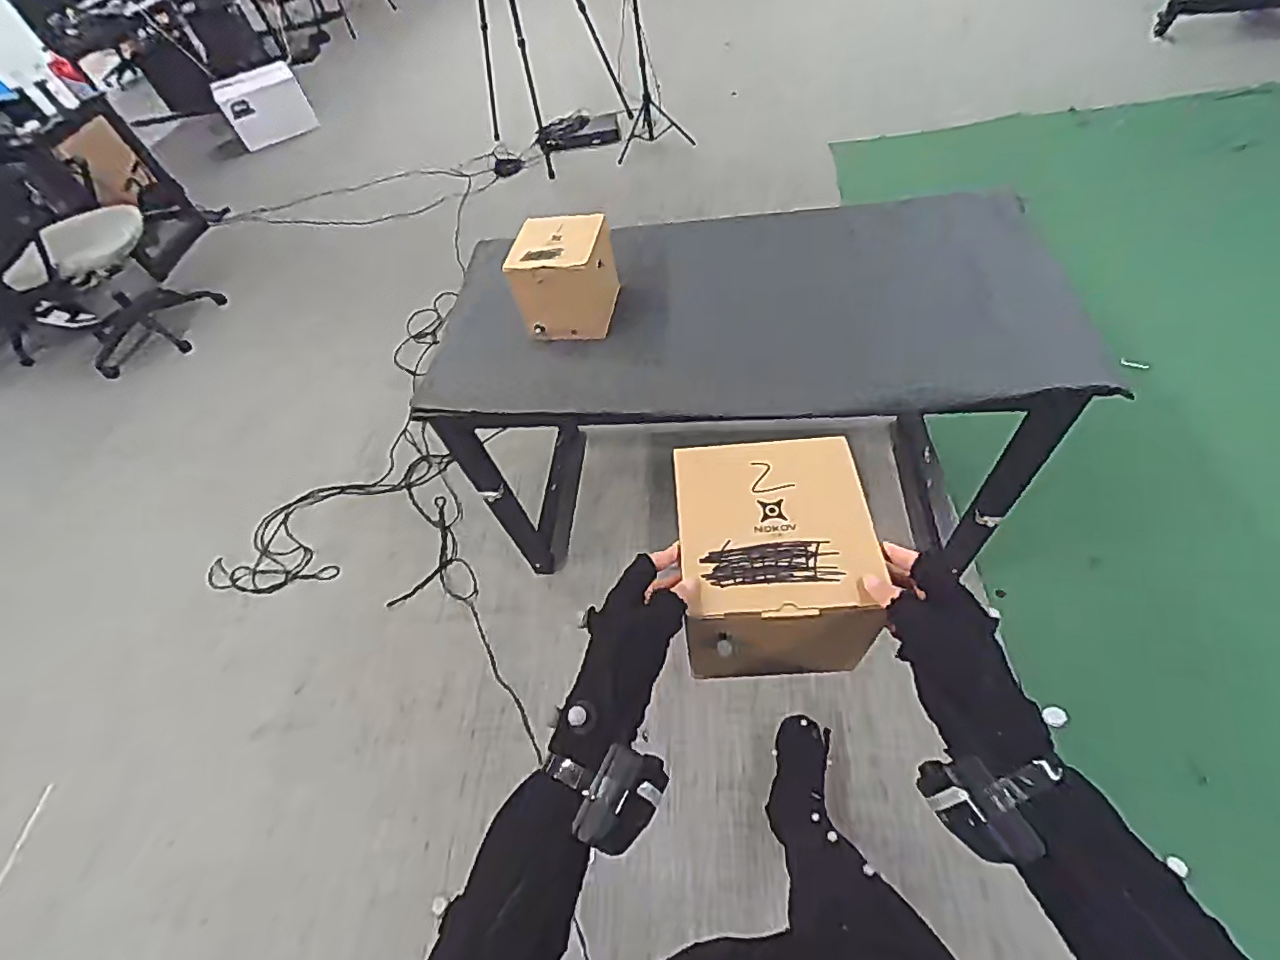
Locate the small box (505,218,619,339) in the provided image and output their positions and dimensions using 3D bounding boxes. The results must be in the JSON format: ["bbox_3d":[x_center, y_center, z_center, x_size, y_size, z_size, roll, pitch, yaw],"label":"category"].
[{"bbox_3d":[-0.146,-0.401,1.093,0.168,0.176,0.179,3,54,12],"label":"small box"}]
